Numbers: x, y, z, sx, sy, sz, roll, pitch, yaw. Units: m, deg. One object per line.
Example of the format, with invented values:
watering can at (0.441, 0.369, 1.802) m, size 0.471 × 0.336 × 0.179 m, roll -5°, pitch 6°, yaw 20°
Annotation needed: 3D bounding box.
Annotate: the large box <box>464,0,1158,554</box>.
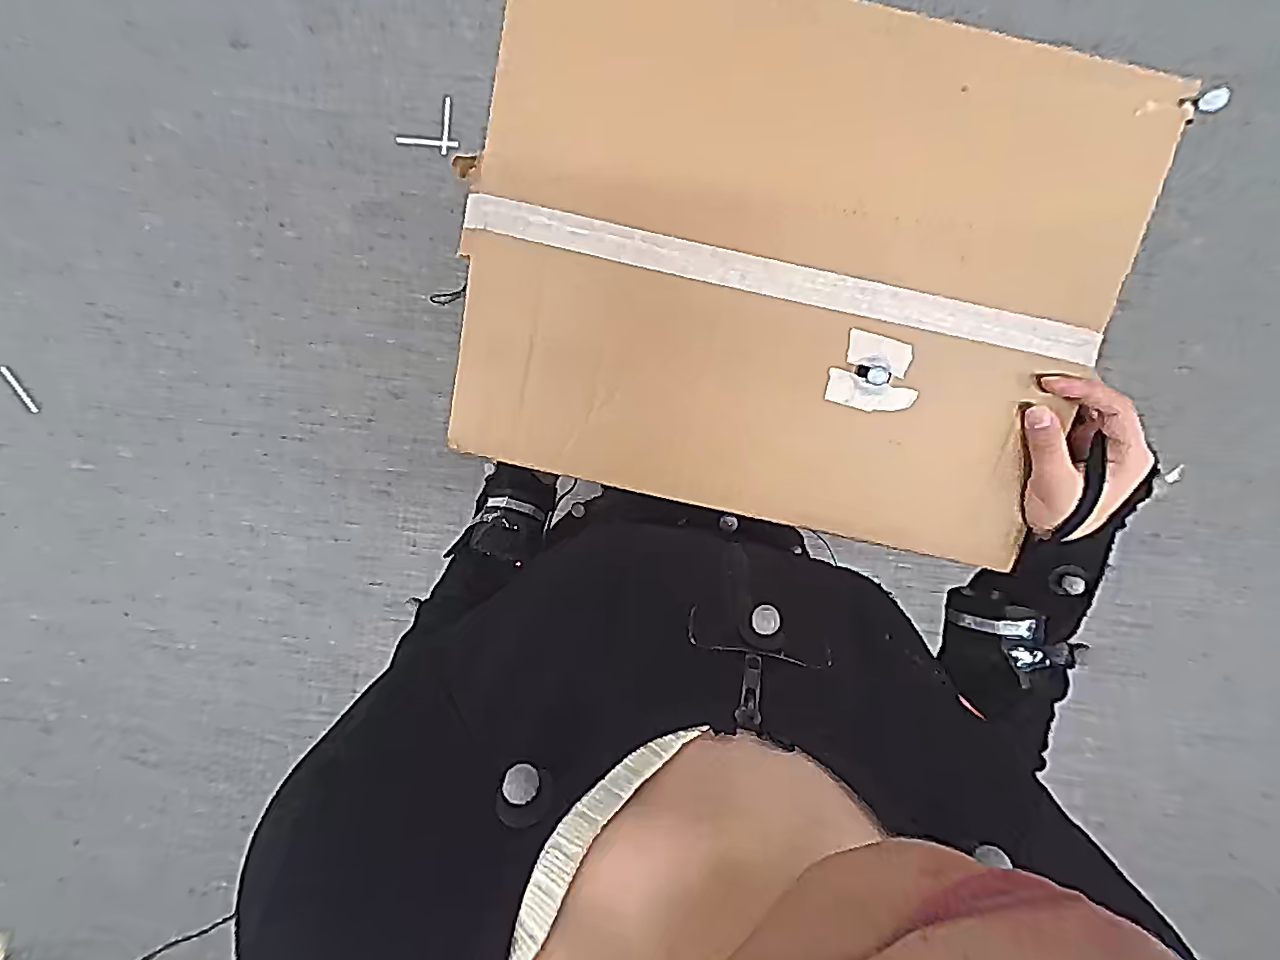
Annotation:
large box at (0.096, -0.157, 0.500) m, size 0.408 × 0.320 × 0.320 m, roll 11°, pitch 103°, yaw -2°
